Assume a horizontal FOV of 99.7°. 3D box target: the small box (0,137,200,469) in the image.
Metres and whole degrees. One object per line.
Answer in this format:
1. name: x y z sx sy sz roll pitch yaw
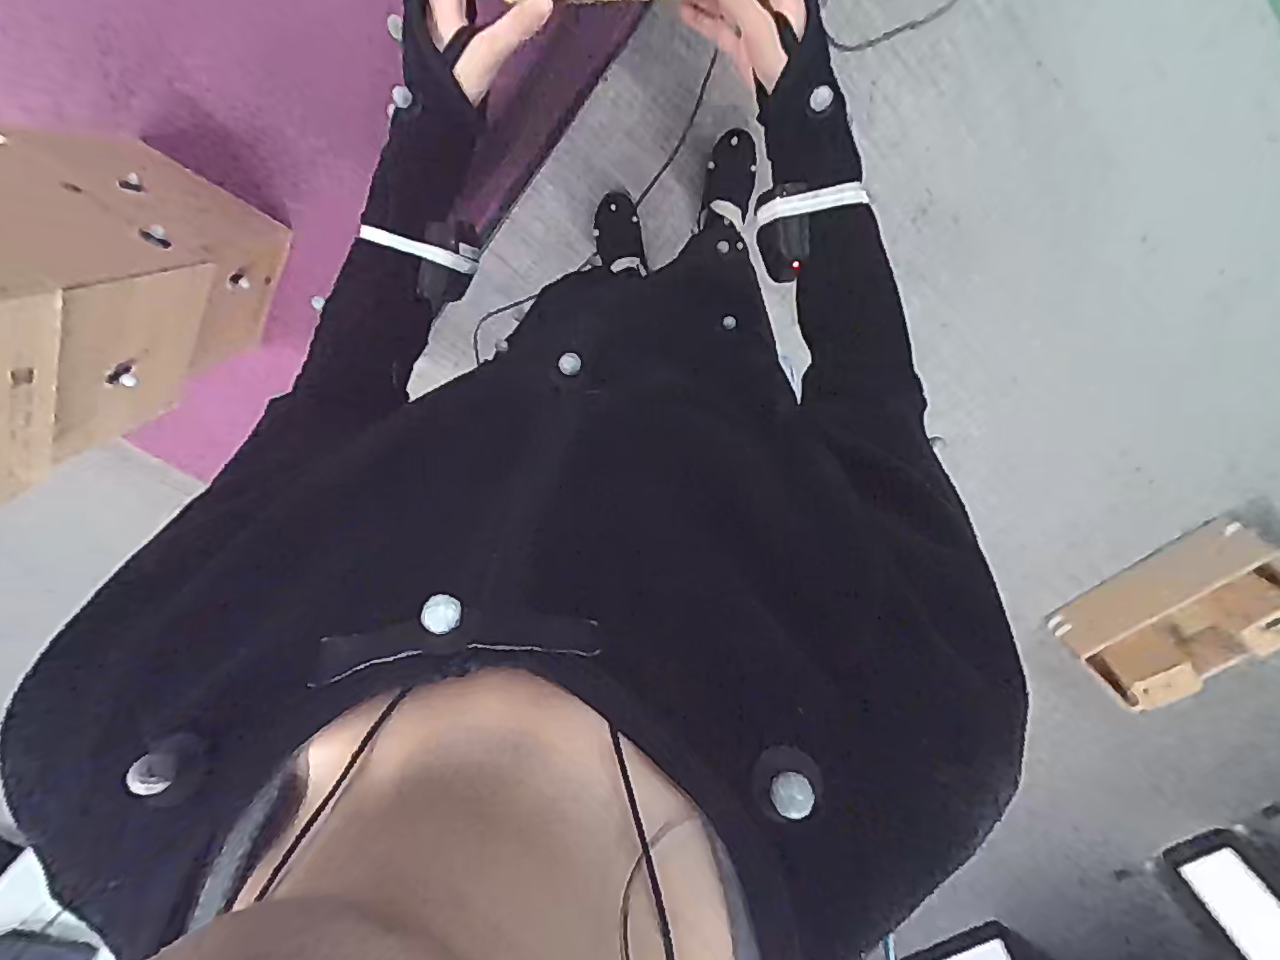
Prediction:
1. small box: -0.503 -0.148 0.431 0.168 0.176 0.179 30 115 -16

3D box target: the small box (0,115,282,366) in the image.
1. small box: -0.522 -0.245 0.564 0.179 0.176 0.168 31 114 -16

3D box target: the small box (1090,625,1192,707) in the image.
1. small box: 1.704 0.630 1.848 0.179 0.176 0.168 -35 113 17
